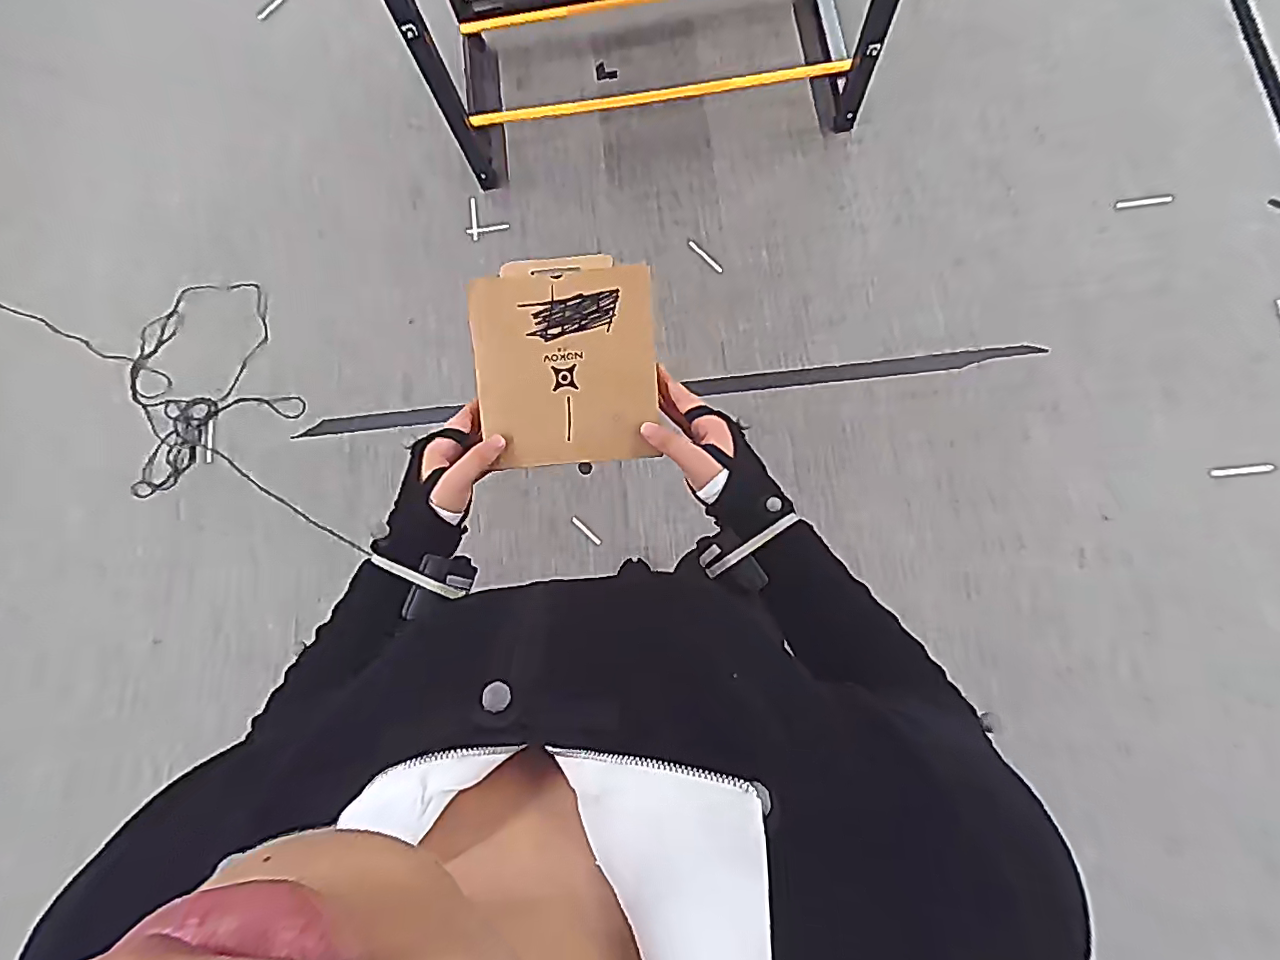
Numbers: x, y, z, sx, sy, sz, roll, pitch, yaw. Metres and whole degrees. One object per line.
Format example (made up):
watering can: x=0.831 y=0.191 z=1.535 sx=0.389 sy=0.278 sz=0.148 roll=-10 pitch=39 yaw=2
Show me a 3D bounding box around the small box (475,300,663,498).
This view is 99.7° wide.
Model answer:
small box: x=-0.065 y=-0.080 z=0.581 sx=0.168 sy=0.176 sz=0.179 roll=-4 pitch=95 yaw=2
